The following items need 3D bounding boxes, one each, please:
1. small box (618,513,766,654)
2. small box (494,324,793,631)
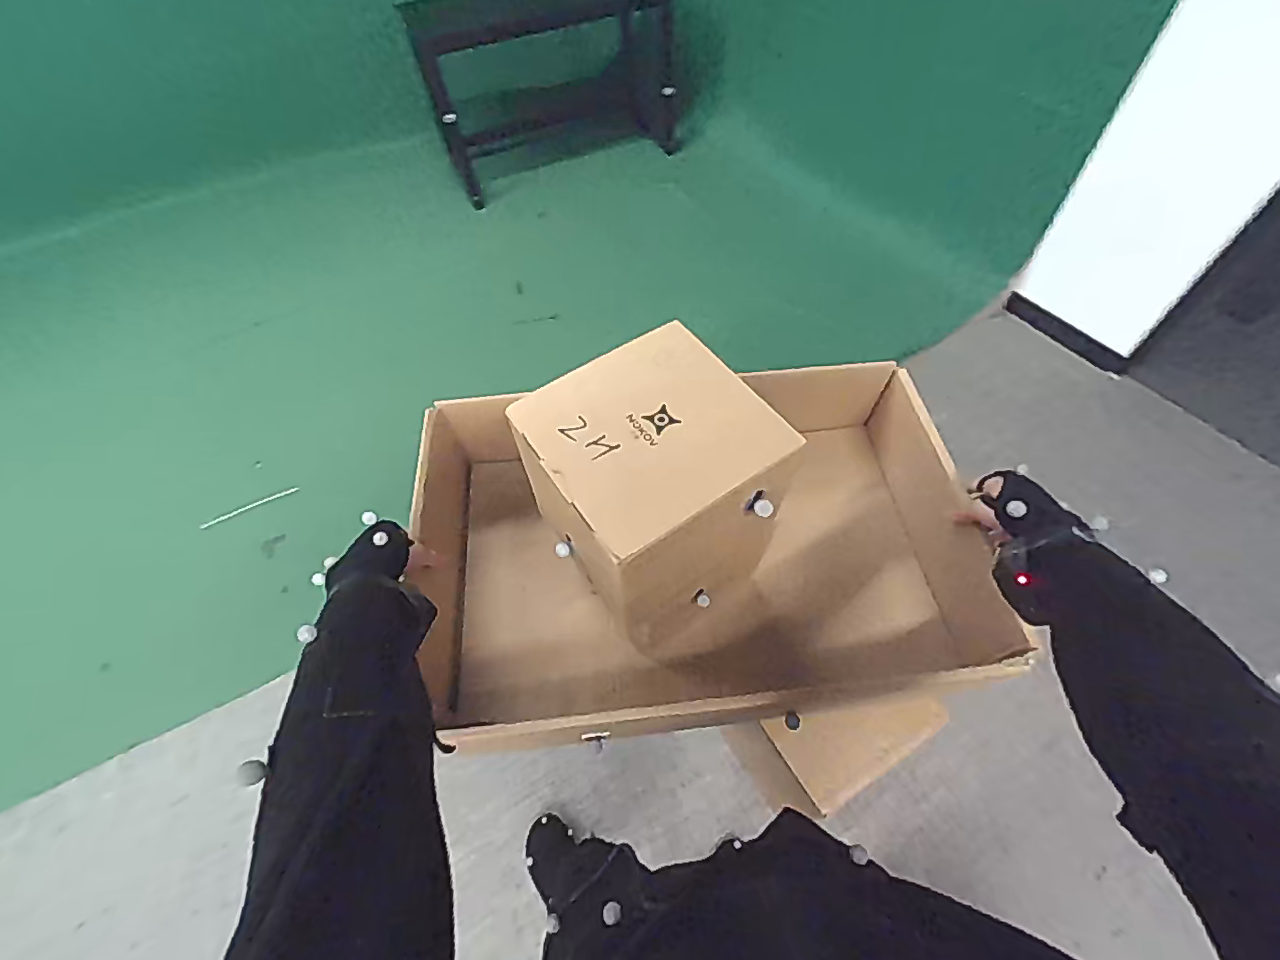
[{"bbox_3d":[0.018,0.074,0.628,0.179,0.176,0.168,-33,64,-18],"label":"small box"},{"bbox_3d":[0.001,0.003,0.479,0.179,0.176,0.168,-32,62,-17],"label":"small box"}]
